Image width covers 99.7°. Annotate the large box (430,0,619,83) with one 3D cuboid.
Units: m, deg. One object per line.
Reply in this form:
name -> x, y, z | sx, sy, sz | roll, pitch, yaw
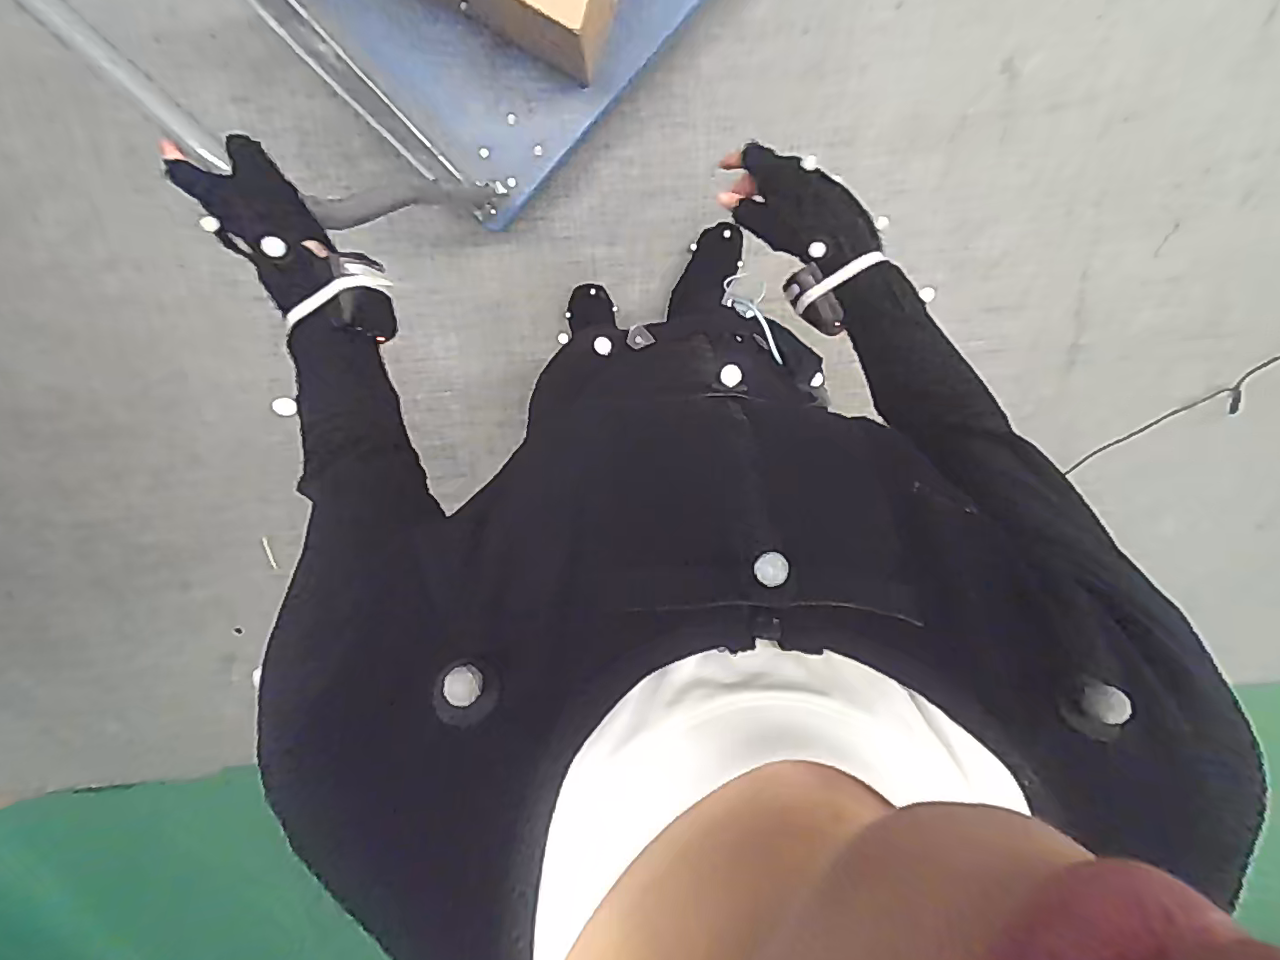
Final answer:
large box -> -0.210, -0.873, 0.789 | 0.408, 0.320, 0.320 | 22, 112, -11
